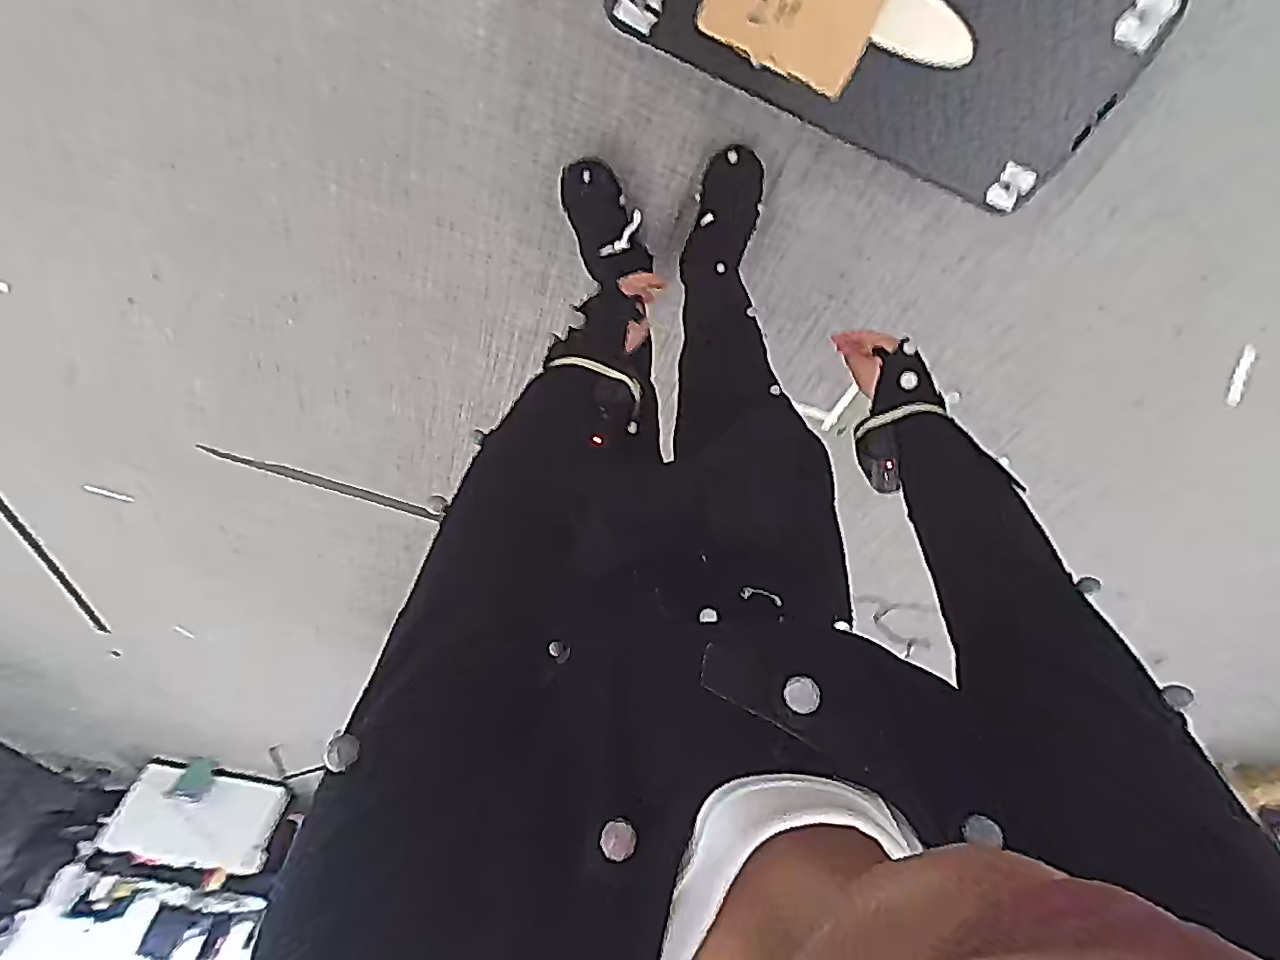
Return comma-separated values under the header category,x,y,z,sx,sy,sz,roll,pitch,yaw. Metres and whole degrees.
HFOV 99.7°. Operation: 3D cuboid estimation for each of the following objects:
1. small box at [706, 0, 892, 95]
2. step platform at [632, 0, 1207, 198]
category,x,y,z,sx,sy,sz,roll,pitch,yaw
small box,0.177,-0.549,0.561,0.168,0.176,0.179,20,135,-11
step platform,0.327,-0.642,0.694,0.684,0.204,0.286,19,134,-10
